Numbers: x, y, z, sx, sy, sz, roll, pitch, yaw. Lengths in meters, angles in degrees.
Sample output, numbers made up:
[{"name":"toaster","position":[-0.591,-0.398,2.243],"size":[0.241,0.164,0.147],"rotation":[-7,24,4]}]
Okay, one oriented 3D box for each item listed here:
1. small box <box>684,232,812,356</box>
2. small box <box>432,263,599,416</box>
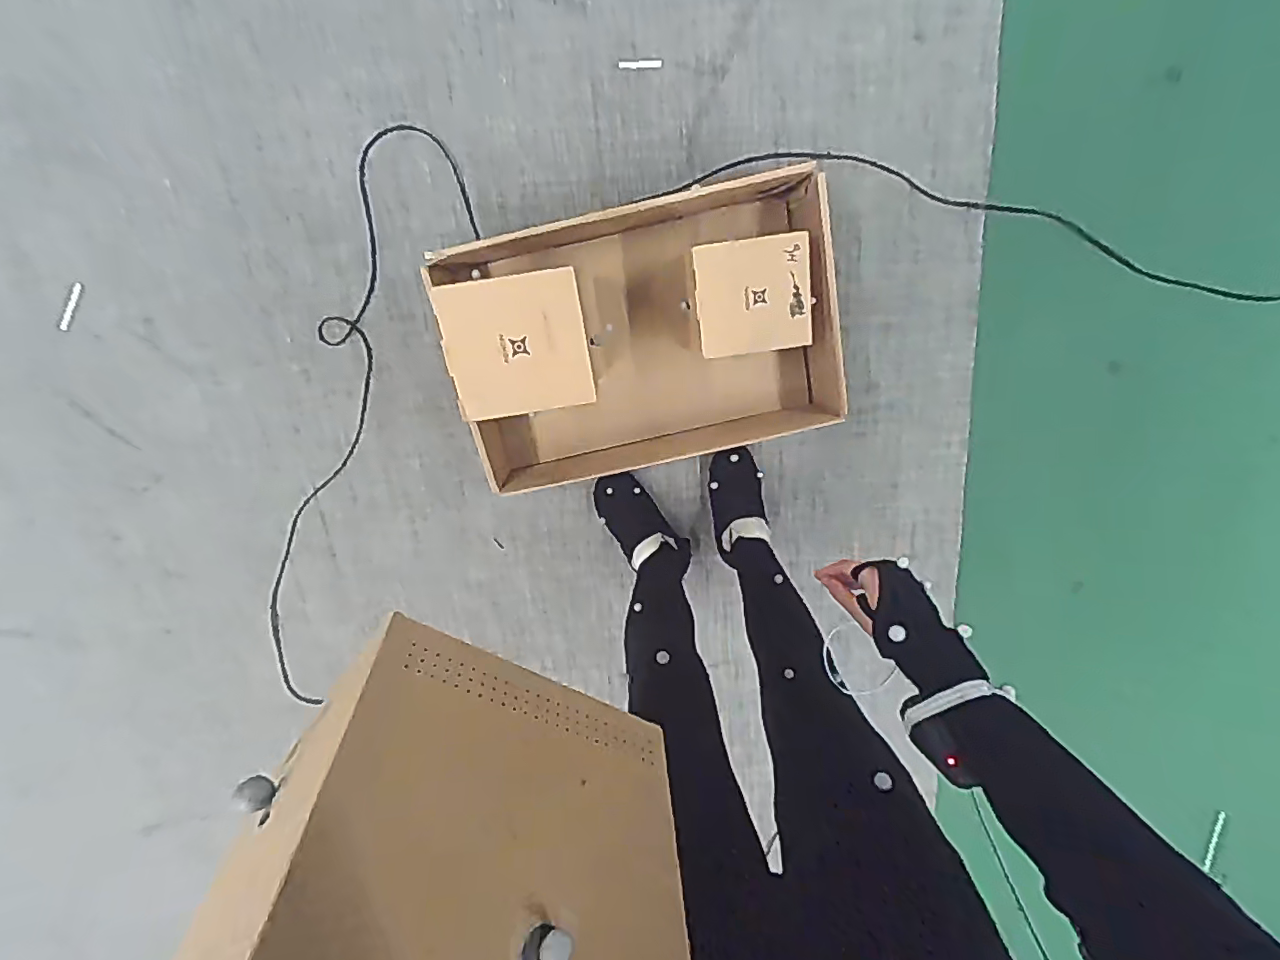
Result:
[{"name":"small box","position":[0.168,-0.300,0.886],"size":[0.179,0.176,0.168],"rotation":[-7,108,0]},{"name":"small box","position":[-0.153,-0.192,0.732],"size":[0.179,0.176,0.168],"rotation":[-8,109,-1]}]
